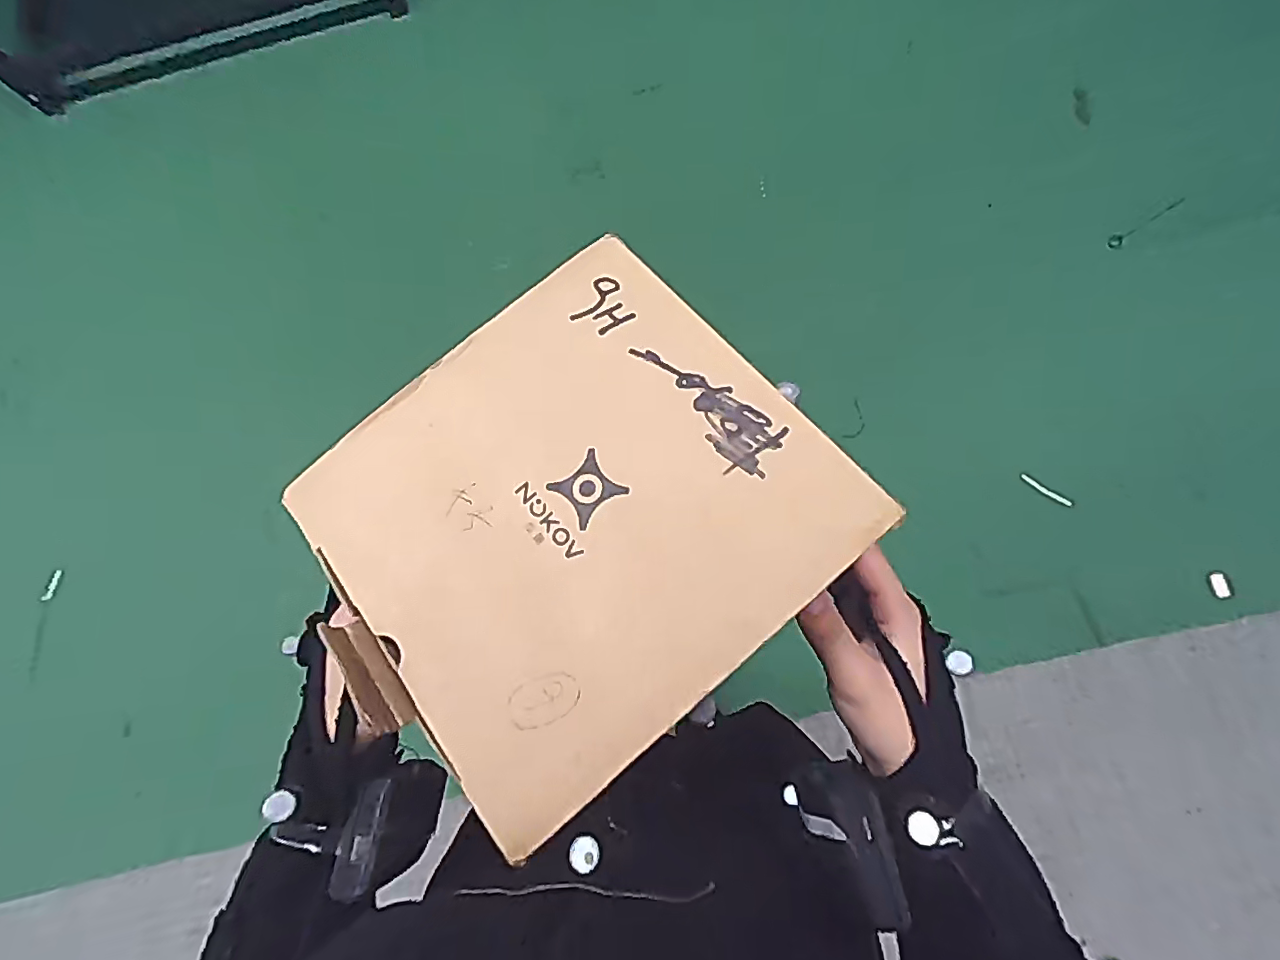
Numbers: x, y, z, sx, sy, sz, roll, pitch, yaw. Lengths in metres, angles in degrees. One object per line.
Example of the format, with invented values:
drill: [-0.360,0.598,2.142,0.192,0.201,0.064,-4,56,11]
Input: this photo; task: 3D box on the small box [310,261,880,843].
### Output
small box: [-0.015,0.035,0.289,0.179,0.176,0.168,-41,74,-5]
